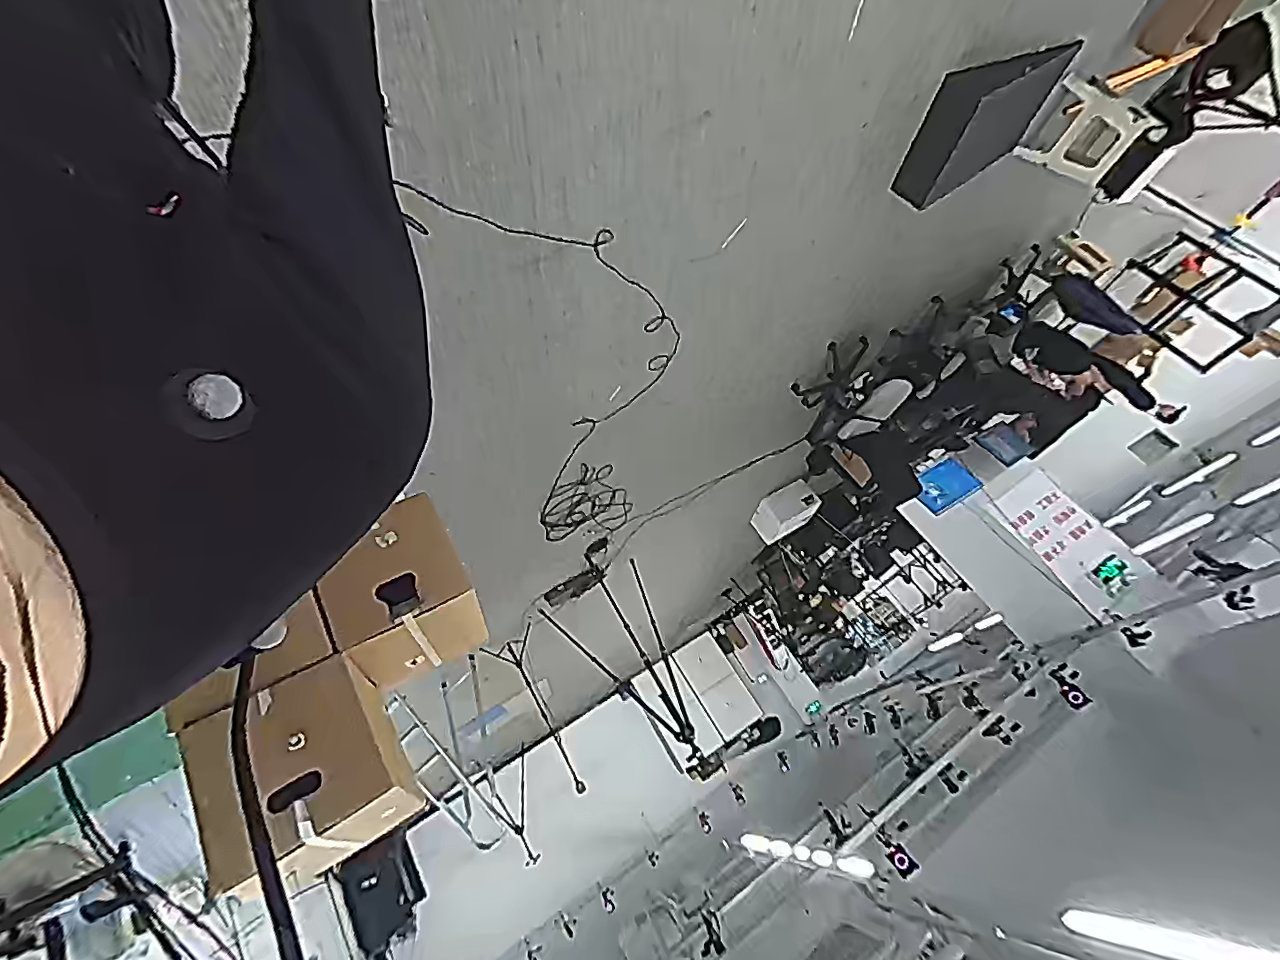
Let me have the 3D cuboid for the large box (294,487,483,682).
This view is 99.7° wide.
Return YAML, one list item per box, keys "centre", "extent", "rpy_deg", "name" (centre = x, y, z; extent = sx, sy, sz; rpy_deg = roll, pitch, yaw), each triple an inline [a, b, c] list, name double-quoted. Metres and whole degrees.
- centre: [-0.646, 0.284, 1.443]
  extent: [0.320, 0.320, 0.408]
  rpy_deg: [-24, 155, -23]
  name: "large box"
